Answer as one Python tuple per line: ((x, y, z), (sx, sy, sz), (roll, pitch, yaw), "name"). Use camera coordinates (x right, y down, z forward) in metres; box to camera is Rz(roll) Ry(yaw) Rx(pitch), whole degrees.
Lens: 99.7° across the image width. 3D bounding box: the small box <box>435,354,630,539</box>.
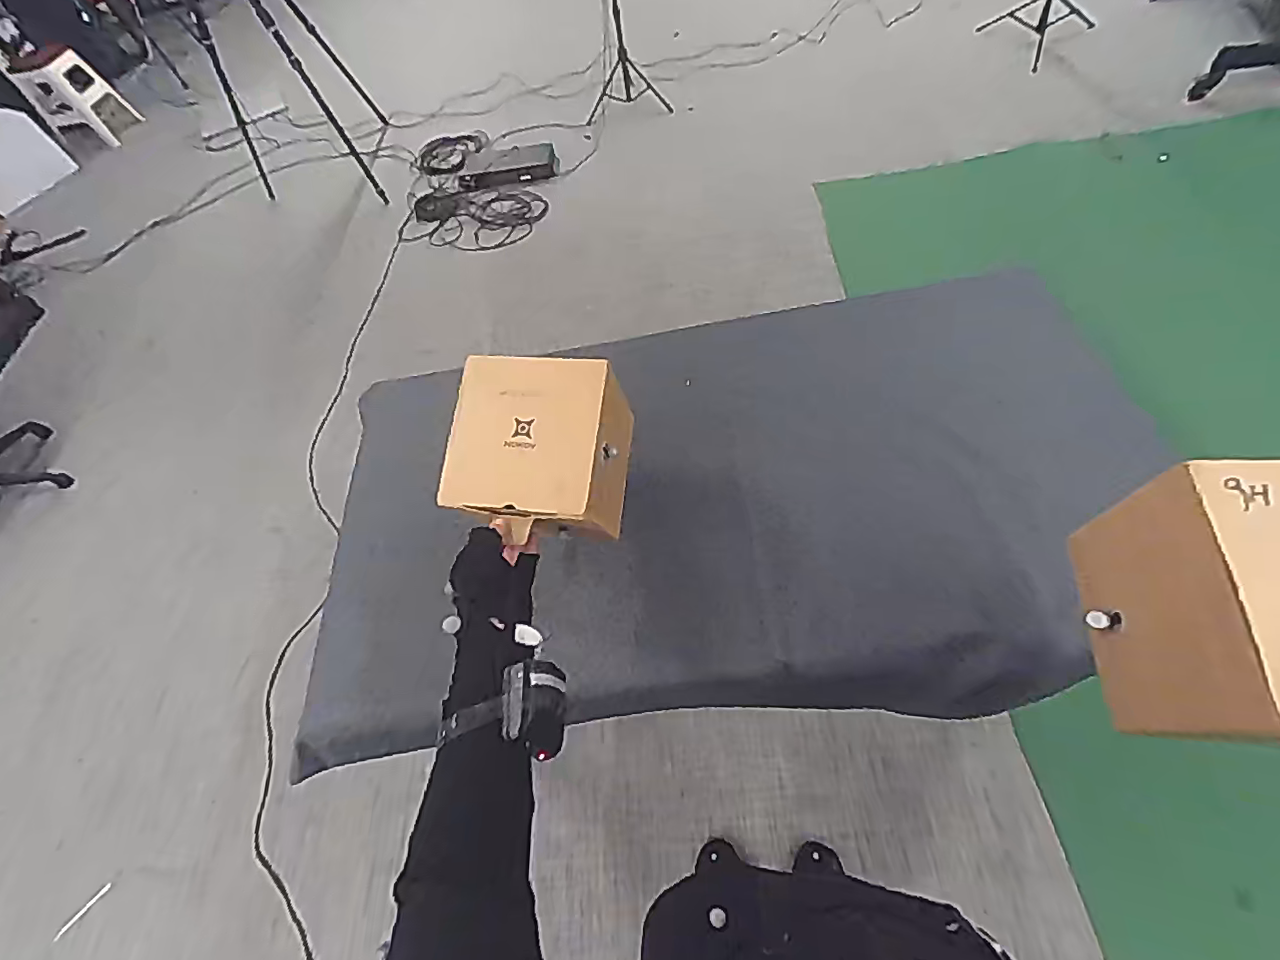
((-0.111, -0.031, 0.641), (0.168, 0.176, 0.179), (4, 76, 10), "small box")
